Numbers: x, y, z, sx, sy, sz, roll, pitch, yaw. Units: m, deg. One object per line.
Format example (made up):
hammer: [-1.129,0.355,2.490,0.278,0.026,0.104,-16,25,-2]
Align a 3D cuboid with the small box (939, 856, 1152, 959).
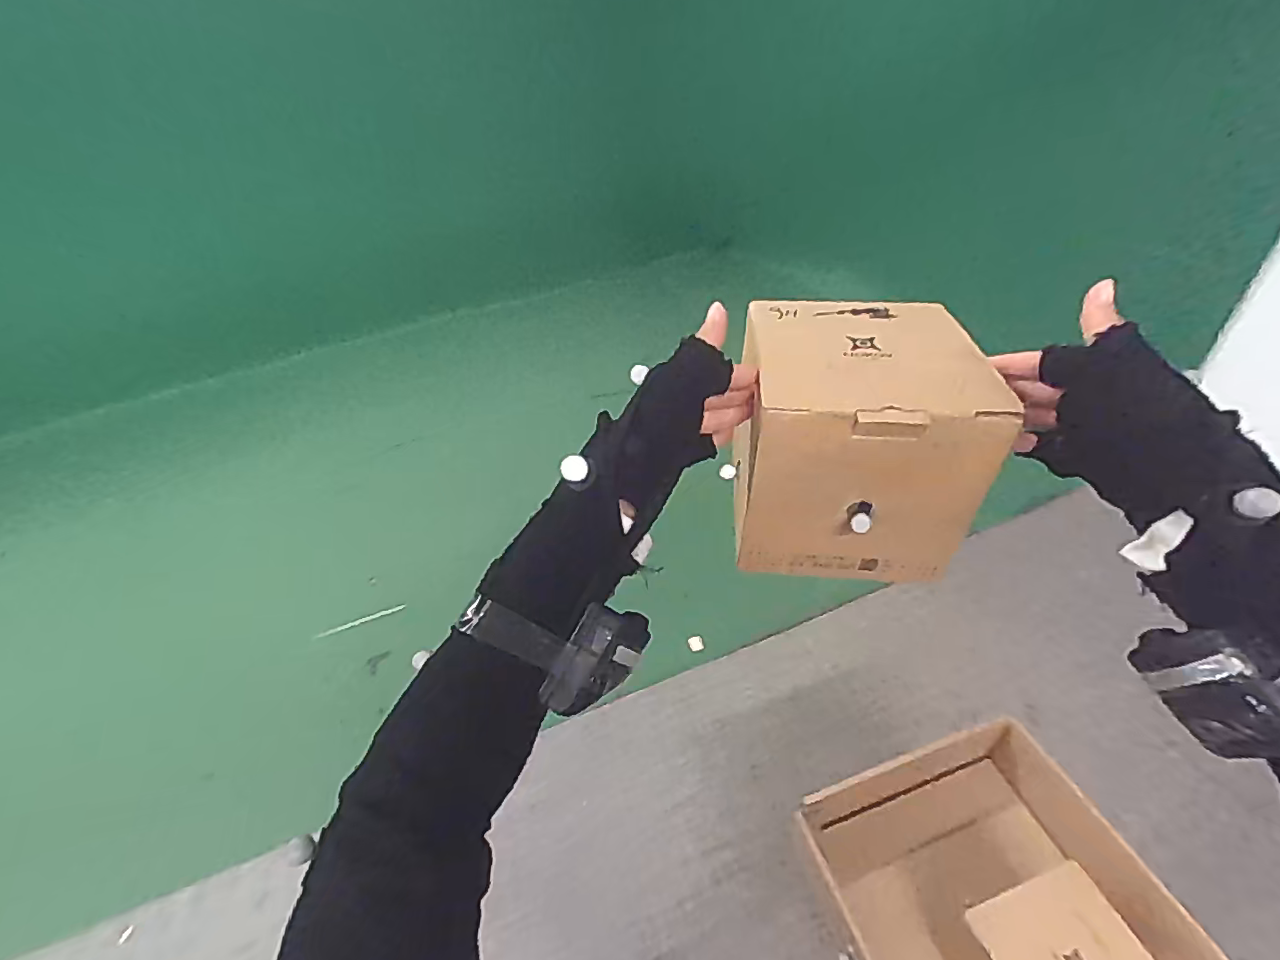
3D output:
small box: [0.521,0.630,0.699,0.179,0.176,0.168,-16,44,-10]
